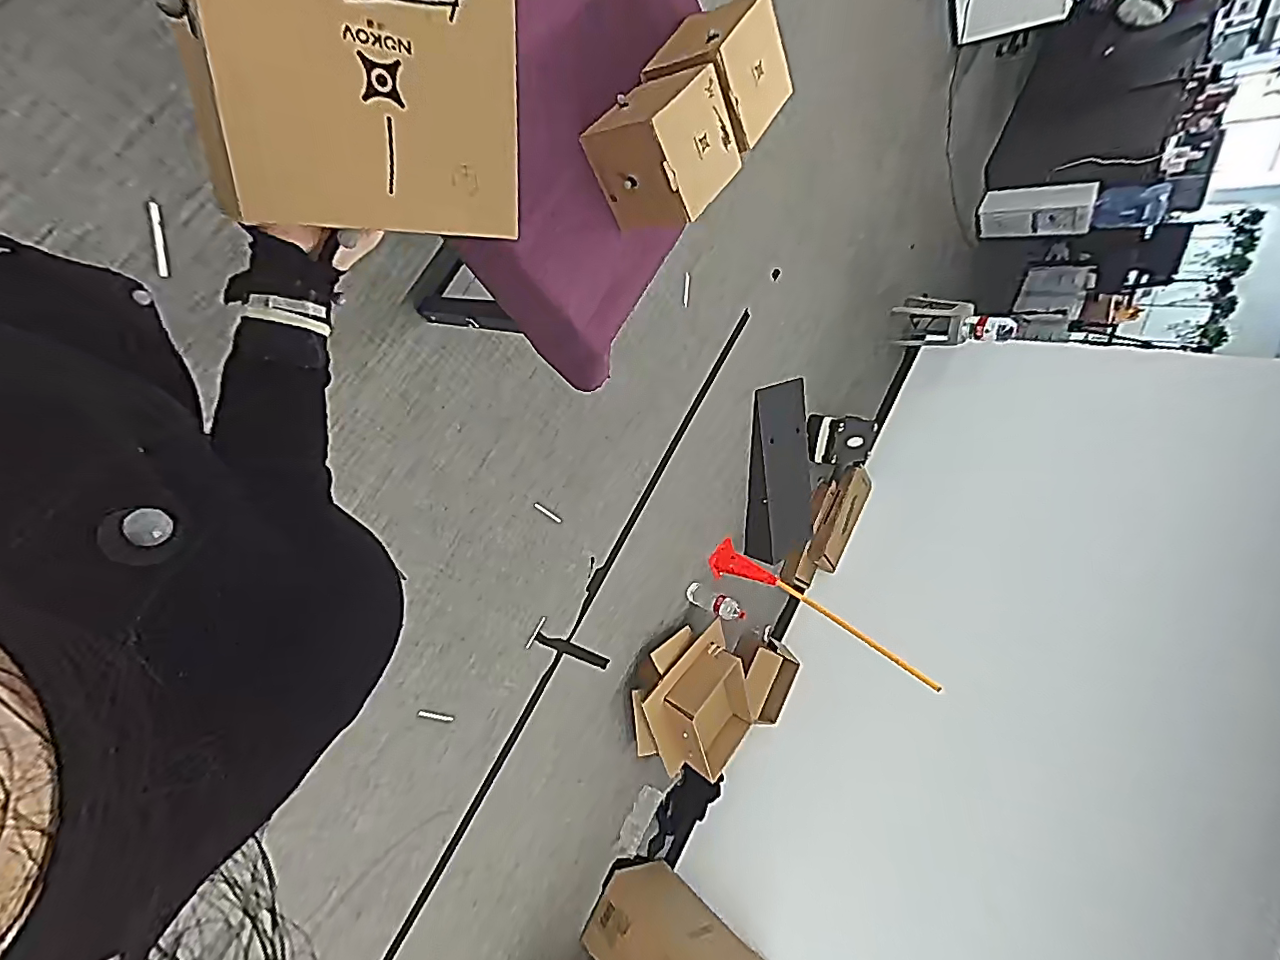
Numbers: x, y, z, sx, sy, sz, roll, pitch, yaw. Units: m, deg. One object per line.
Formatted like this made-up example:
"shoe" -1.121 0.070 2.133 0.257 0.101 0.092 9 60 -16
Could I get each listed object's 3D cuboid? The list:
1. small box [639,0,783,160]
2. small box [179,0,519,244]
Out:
"small box" 0.128 -0.710 0.967 0.179 0.176 0.168 -58 139 -16
"small box" -0.196 -0.265 0.370 0.168 0.176 0.179 -15 122 -36
